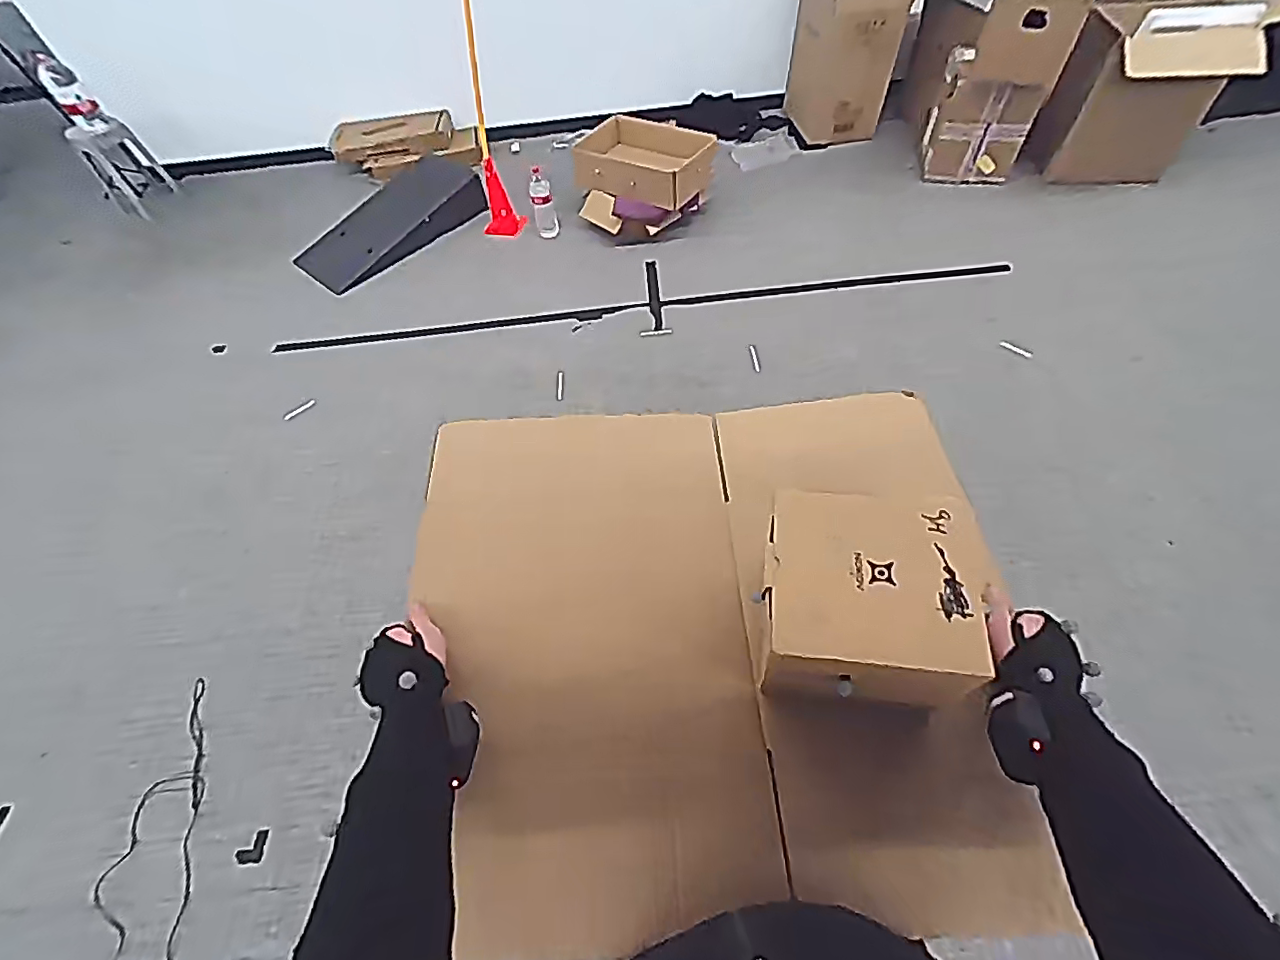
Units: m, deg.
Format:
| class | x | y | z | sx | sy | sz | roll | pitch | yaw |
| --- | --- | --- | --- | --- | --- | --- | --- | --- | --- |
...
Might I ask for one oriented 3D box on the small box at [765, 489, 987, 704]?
| class | x | y | z | sx | sy | sz | roll | pitch | yaw |
| --- | --- | --- | --- | --- | --- | --- | --- | --- | --- |
| small box | 0.221 | 0.124 | 0.559 | 0.179 | 0.176 | 0.168 | 2 | 59 | 12 |
